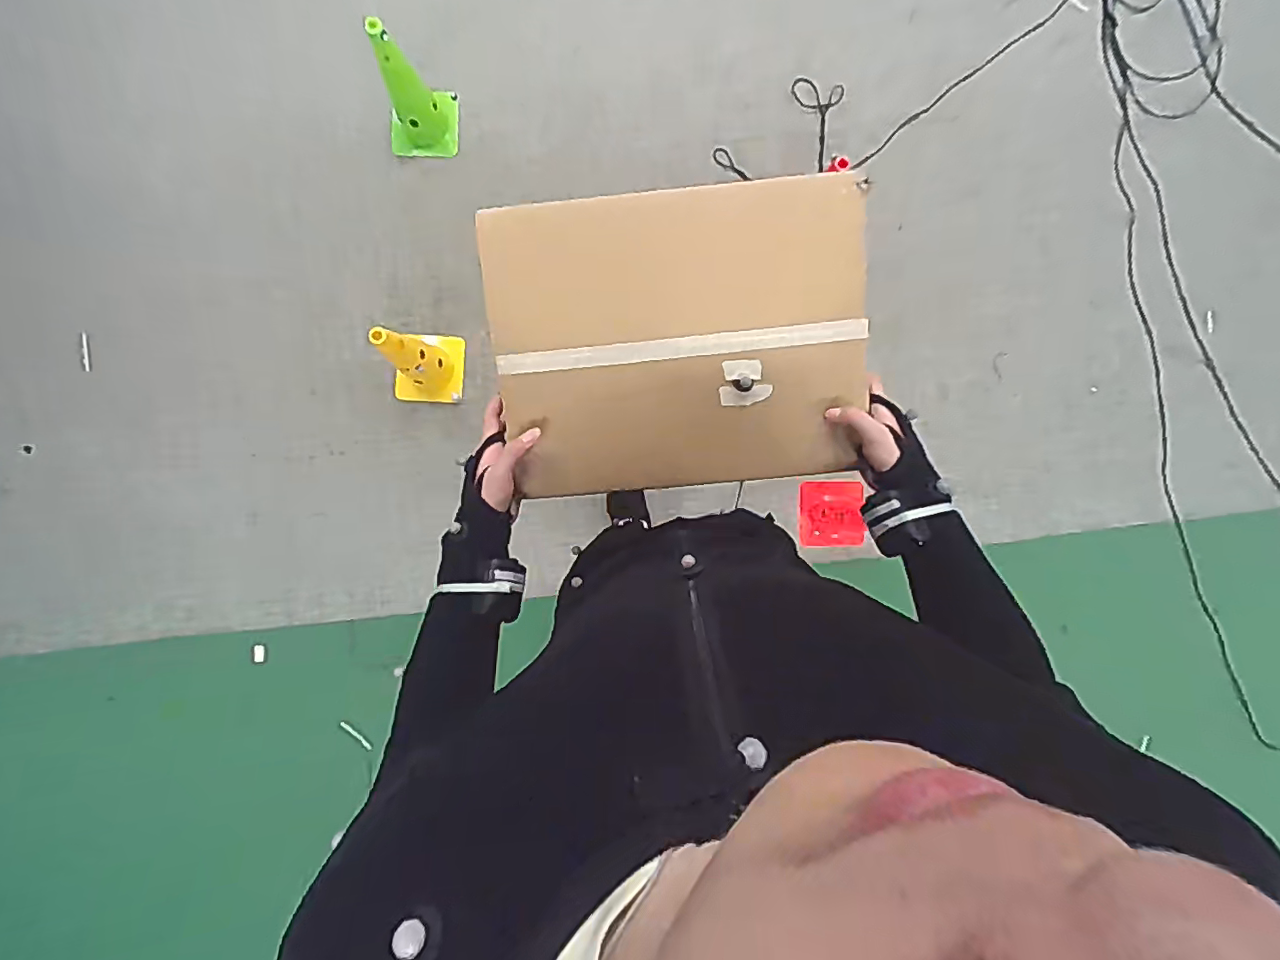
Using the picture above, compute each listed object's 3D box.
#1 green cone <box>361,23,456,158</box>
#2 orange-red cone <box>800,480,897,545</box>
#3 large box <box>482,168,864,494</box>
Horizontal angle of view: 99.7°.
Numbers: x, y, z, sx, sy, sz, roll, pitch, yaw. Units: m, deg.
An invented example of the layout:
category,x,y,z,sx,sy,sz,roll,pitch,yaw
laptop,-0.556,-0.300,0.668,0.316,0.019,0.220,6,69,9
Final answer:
category,x,y,z,sx,sy,sz,roll,pitch,yaw
green cone,-0.659,-1.081,1.472,0.200,0.368,0.202,-1,90,-1
orange-red cone,0.598,0.097,1.480,0.199,0.360,0.198,1,90,-3
large box,0.044,-0.185,0.742,0.408,0.320,0.320,-6,104,1
